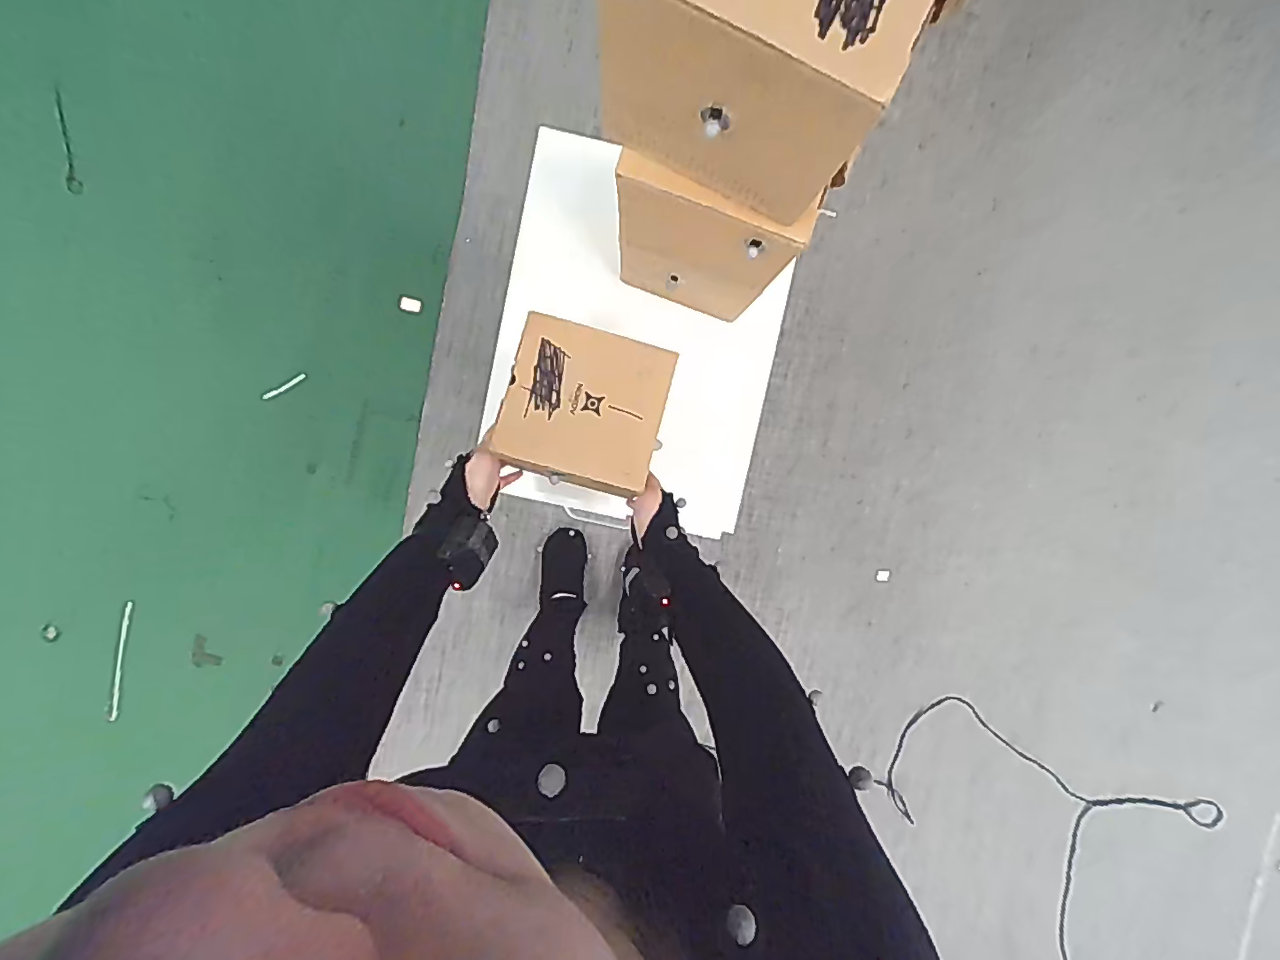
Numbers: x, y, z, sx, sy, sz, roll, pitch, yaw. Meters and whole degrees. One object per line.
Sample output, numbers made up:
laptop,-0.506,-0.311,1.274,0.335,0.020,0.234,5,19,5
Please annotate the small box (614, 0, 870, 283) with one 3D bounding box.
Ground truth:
small box,0.082,-0.315,0.529,0.179,0.176,0.168,18,94,-4

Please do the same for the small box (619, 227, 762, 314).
small box,0.081,-0.330,0.691,0.179,0.176,0.168,19,94,-3

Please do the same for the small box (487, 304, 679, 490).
small box,-0.067,-0.087,0.667,0.179,0.176,0.168,16,85,-4
